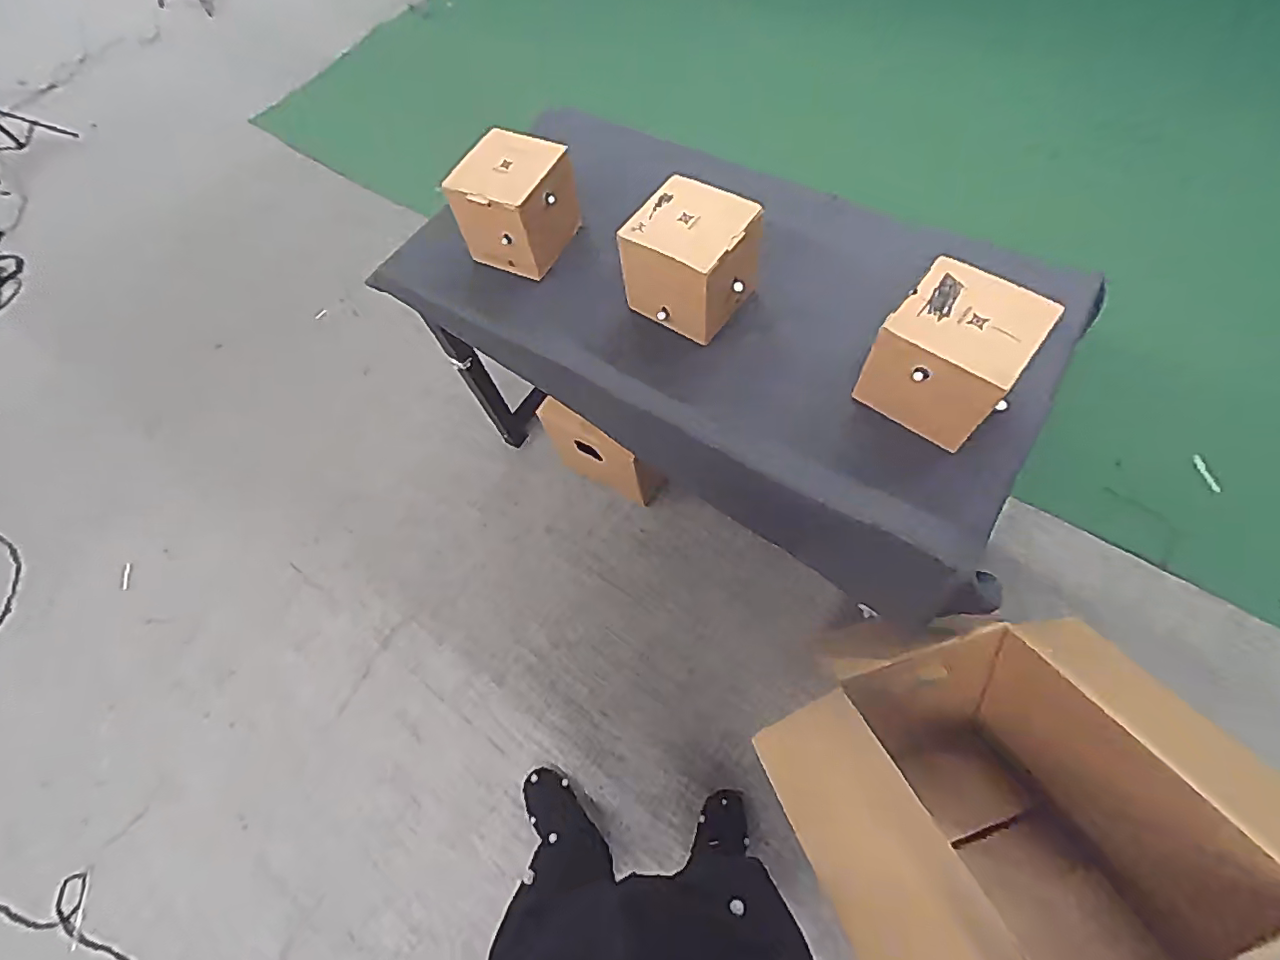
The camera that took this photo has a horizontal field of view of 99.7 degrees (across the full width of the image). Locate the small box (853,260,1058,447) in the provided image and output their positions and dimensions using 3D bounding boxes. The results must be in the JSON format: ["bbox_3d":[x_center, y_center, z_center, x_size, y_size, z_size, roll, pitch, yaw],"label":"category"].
[{"bbox_3d":[0.445,-0.178,0.795,0.179,0.176,0.168,36,74,20],"label":"small box"}]

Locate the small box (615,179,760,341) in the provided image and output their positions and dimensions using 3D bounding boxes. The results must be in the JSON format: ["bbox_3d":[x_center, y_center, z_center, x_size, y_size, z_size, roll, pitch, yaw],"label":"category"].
[{"bbox_3d":[0.083,-0.369,0.932,0.179,0.176,0.168,32,72,19],"label":"small box"}]

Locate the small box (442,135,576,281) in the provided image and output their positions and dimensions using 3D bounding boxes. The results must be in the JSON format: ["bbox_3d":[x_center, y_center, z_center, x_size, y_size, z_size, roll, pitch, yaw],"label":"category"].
[{"bbox_3d":[-0.239,-0.517,1.041,0.168,0.176,0.179,22,67,14],"label":"small box"}]
